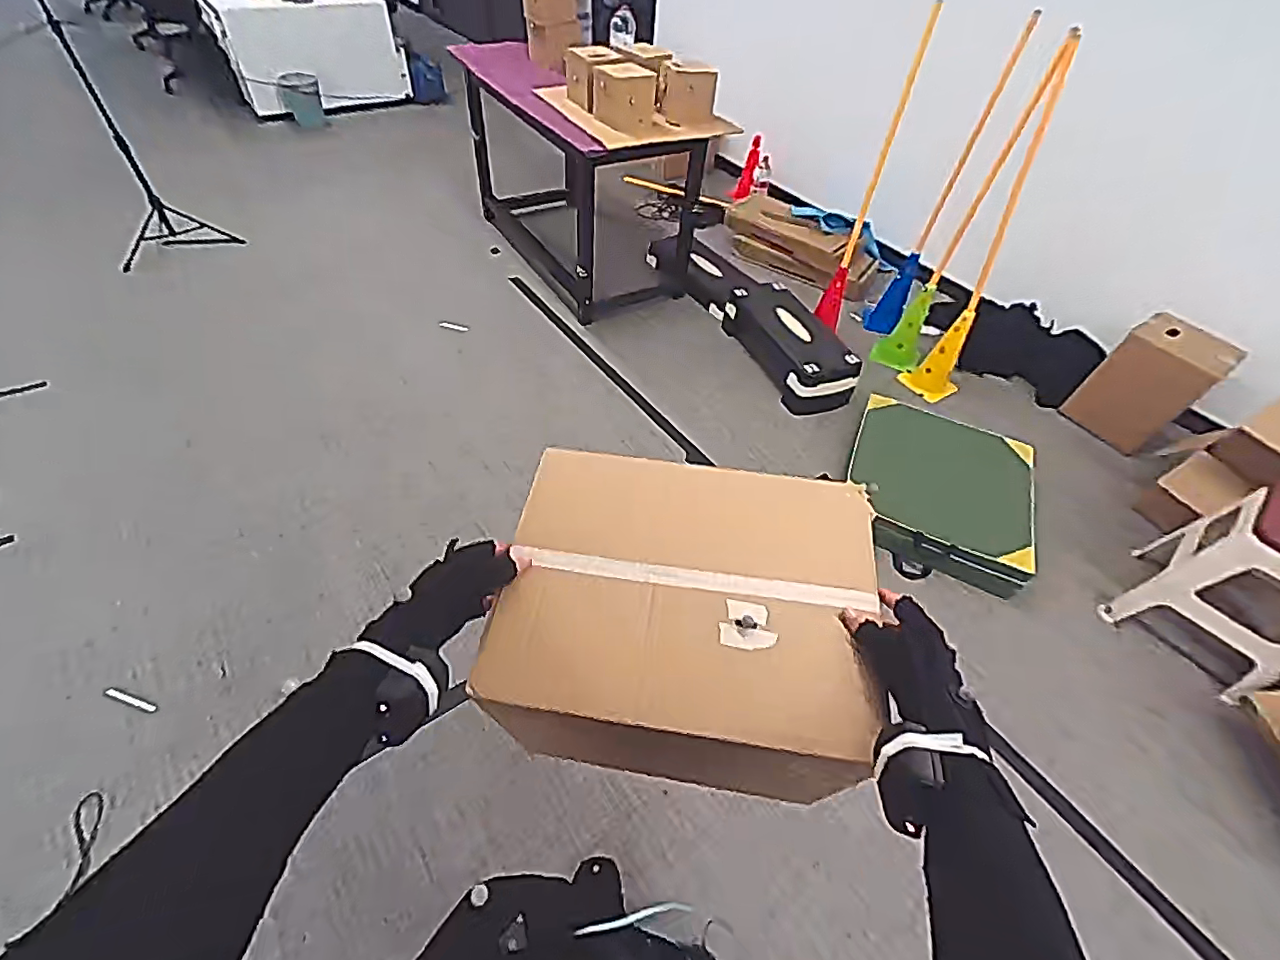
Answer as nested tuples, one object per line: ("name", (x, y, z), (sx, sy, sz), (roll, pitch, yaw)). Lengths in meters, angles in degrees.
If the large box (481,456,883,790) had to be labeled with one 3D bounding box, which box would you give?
("large box", (0.055, 0.199, 0.729), (0.408, 0.320, 0.320), (8, 56, 5))
